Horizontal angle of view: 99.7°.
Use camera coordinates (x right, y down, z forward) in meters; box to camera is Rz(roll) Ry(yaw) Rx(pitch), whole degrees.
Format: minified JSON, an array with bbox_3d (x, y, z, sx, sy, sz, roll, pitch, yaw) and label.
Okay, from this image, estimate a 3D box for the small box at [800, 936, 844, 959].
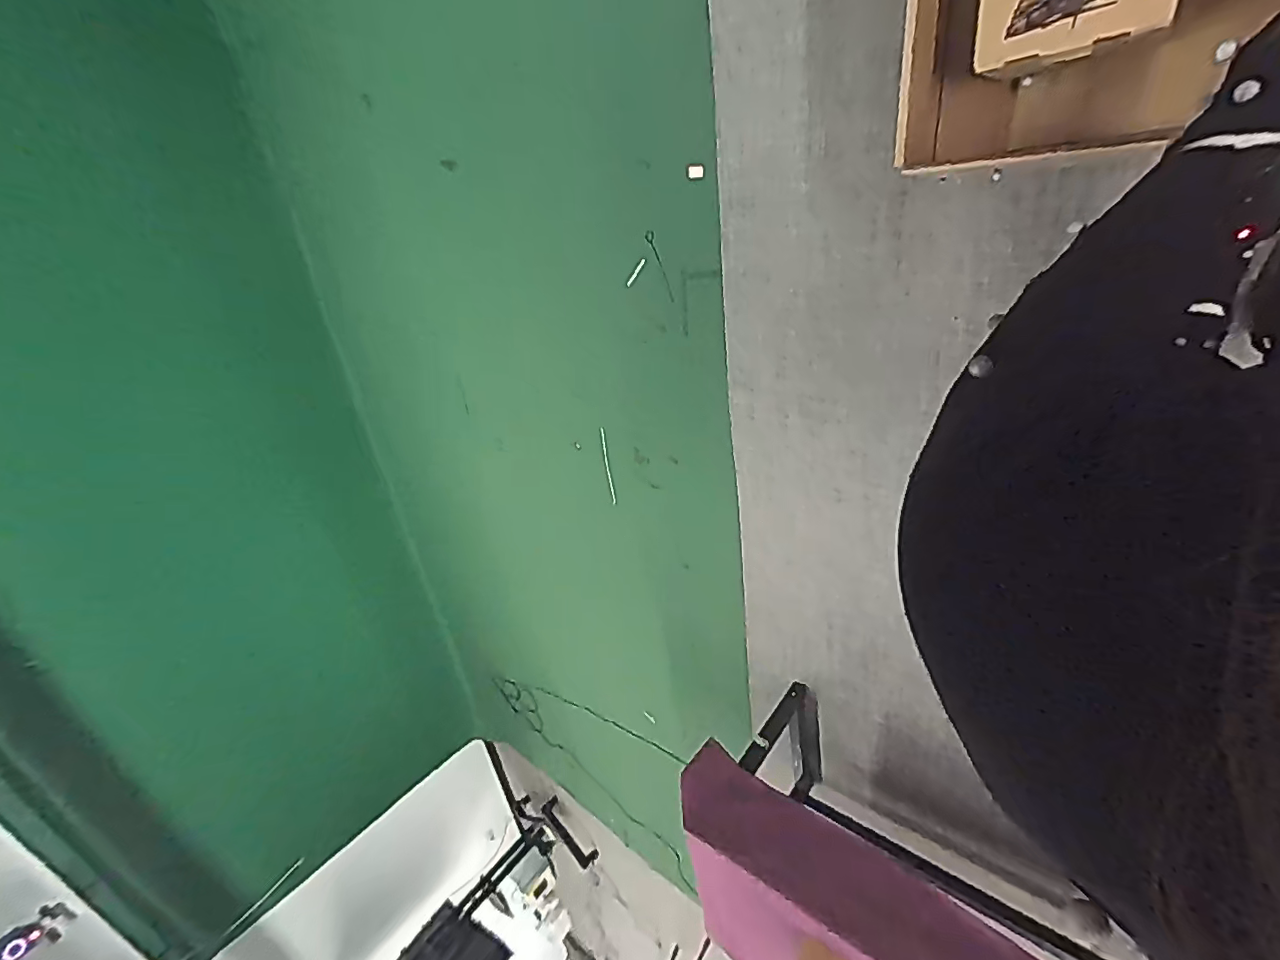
[{"bbox_3d":[0.484,1.344,1.391,0.179,0.176,0.168,18,126,38],"label":"small box"}]
